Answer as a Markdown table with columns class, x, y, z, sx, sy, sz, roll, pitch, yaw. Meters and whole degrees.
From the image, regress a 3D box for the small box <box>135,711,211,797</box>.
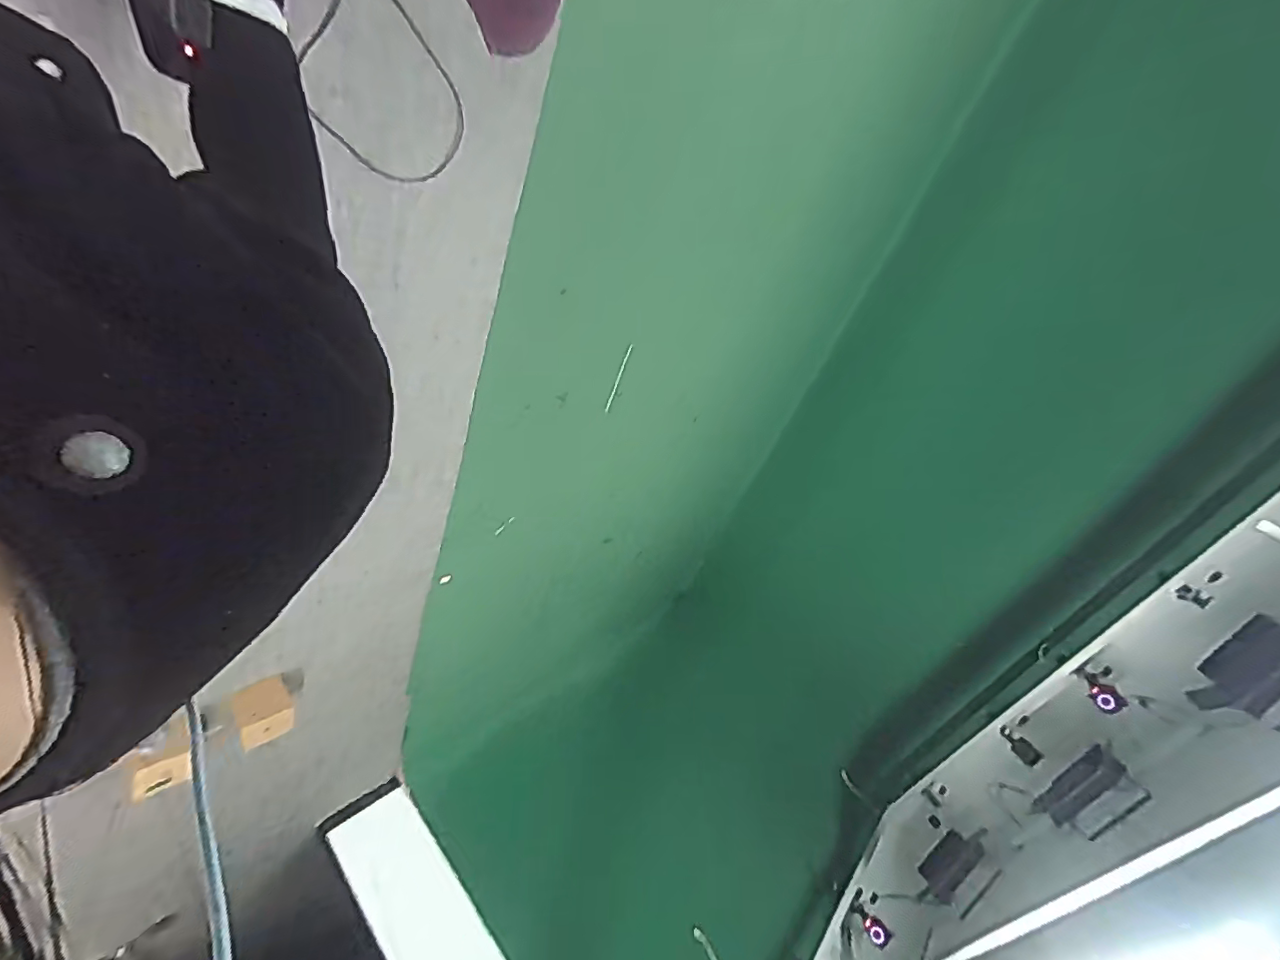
| class | x | y | z | sx | sy | sz | roll | pitch | yaw |
| --- | --- | --- | --- | --- | --- | --- | --- | --- | --- |
| small box | -1.653 | 0.961 | 1.909 | 0.168 | 0.176 | 0.179 | -8 | 131 | -54 |

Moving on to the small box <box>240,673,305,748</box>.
| class | x | y | z | sx | sy | sz | roll | pitch | yaw |
| --- | --- | --- | --- | --- | --- | --- | --- | --- | --- |
| small box | -1.456 | 0.904 | 2.136 | 0.179 | 0.176 | 0.168 | -19 | 141 | -47 |
